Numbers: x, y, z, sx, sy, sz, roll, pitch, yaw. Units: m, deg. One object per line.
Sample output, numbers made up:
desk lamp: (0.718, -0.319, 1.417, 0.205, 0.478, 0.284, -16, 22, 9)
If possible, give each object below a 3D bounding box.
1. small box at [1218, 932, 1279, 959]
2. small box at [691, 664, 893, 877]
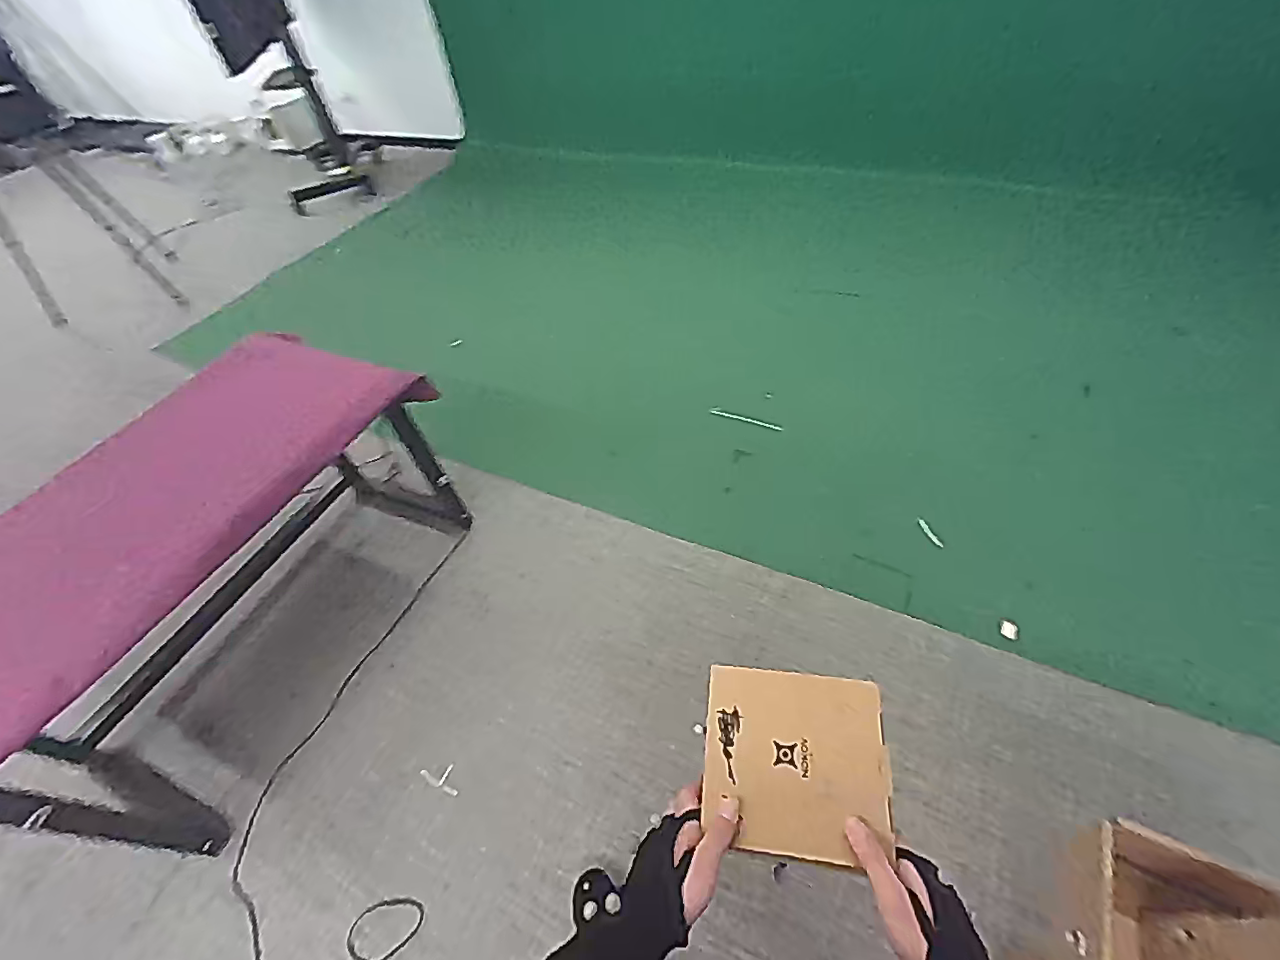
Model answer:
small box: (0.818, 0.640, 0.601, 0.179, 0.176, 0.168, 19, 55, 21)
small box: (0.150, 0.317, 0.588, 0.179, 0.176, 0.168, 4, 53, 8)
